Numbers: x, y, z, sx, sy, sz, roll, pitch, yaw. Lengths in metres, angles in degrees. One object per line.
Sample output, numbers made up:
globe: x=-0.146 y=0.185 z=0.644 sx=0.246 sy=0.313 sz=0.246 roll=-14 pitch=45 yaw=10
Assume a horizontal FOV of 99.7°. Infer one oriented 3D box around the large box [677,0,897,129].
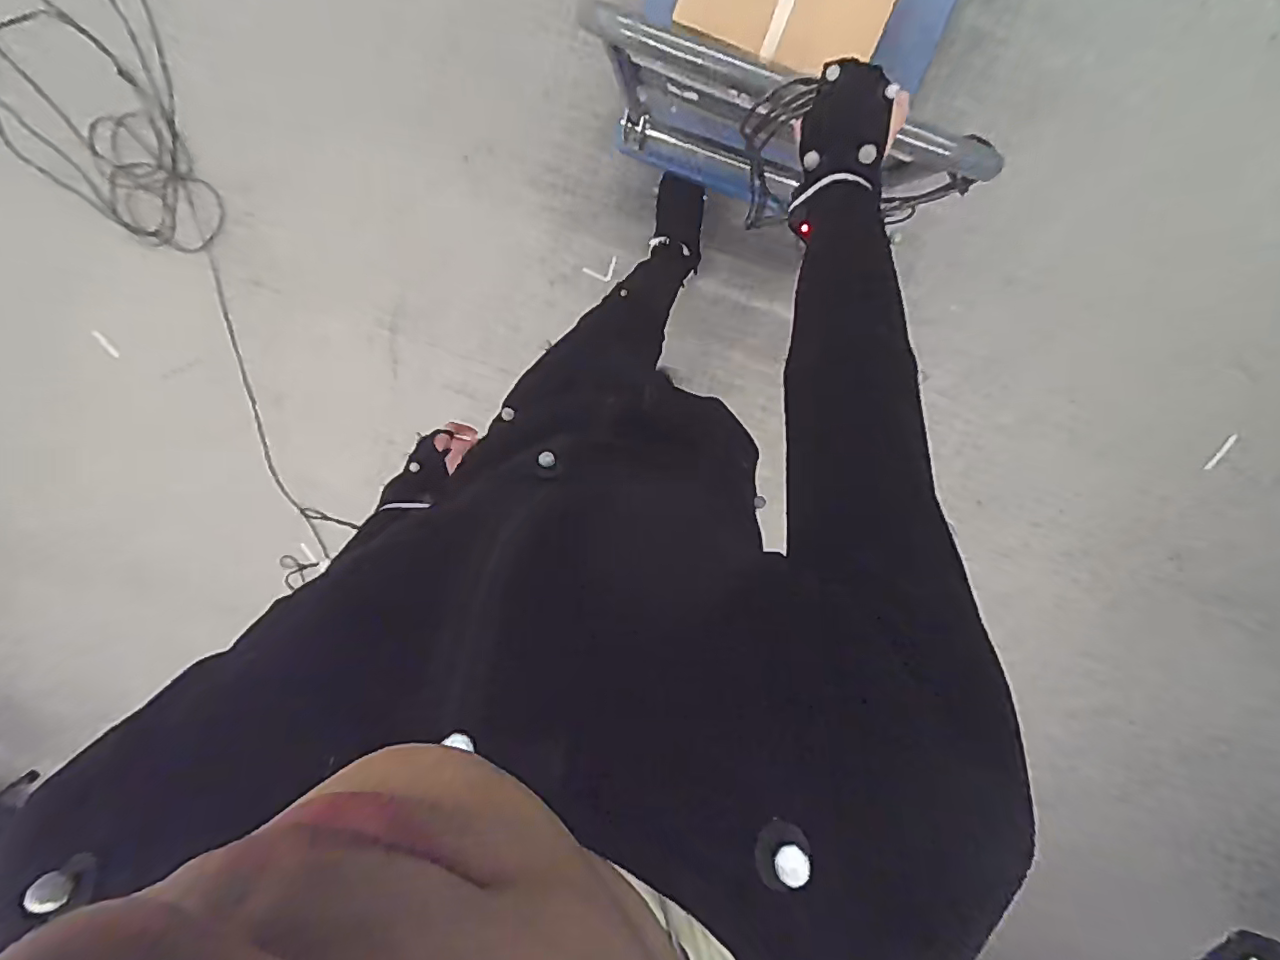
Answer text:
large box: x=0.276 y=-0.887 z=0.899 sx=0.320 sy=0.320 sz=0.408 roll=21 pitch=112 yaw=-4
